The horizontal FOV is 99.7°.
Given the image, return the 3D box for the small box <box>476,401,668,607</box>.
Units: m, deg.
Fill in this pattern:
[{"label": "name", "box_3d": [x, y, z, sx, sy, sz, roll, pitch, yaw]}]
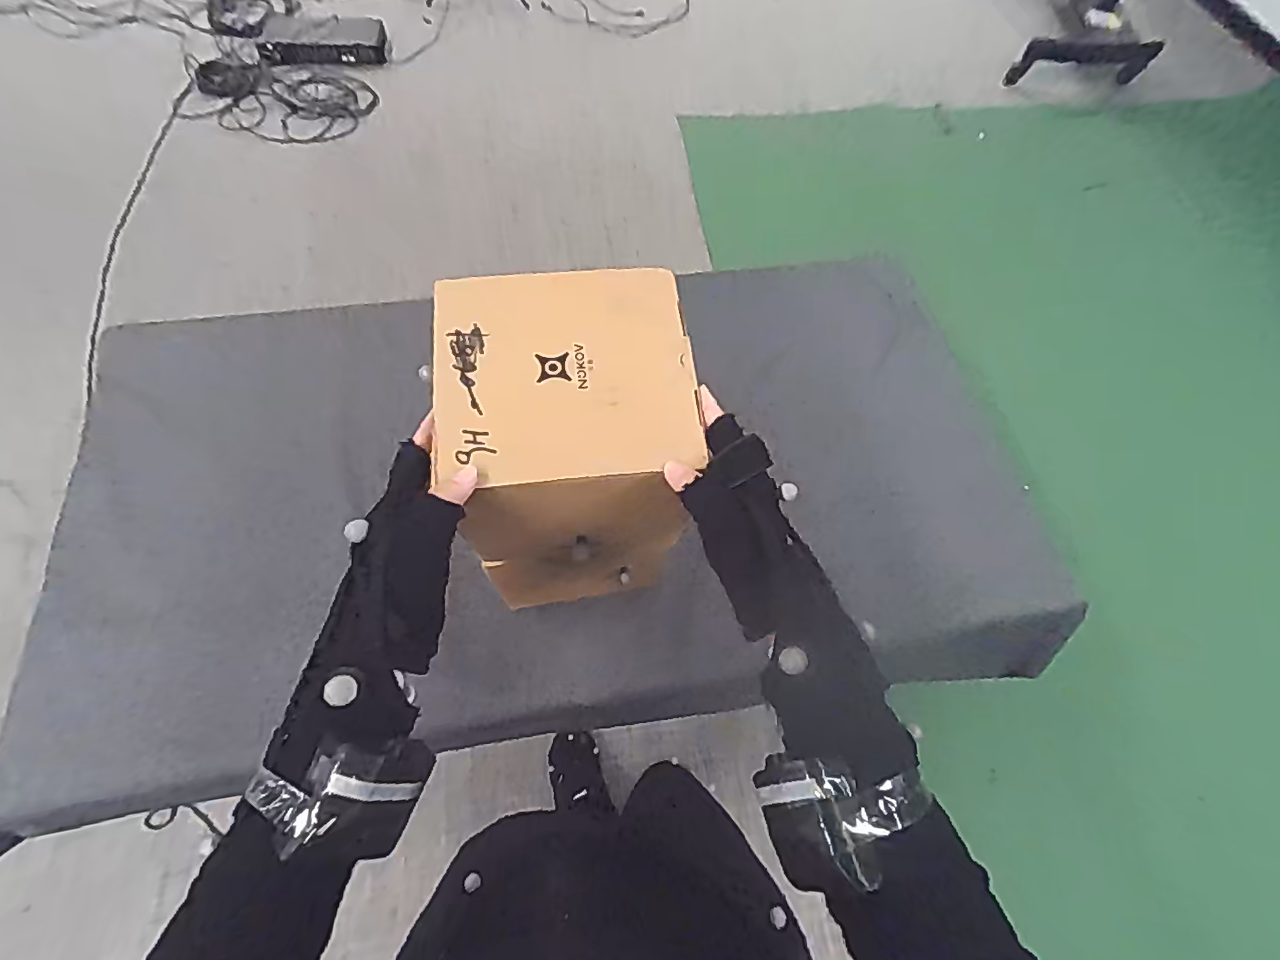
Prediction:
[{"label": "small box", "box_3d": [-0.076, 0.033, 0.613, 0.179, 0.176, 0.168, -9, 64, -7]}]
